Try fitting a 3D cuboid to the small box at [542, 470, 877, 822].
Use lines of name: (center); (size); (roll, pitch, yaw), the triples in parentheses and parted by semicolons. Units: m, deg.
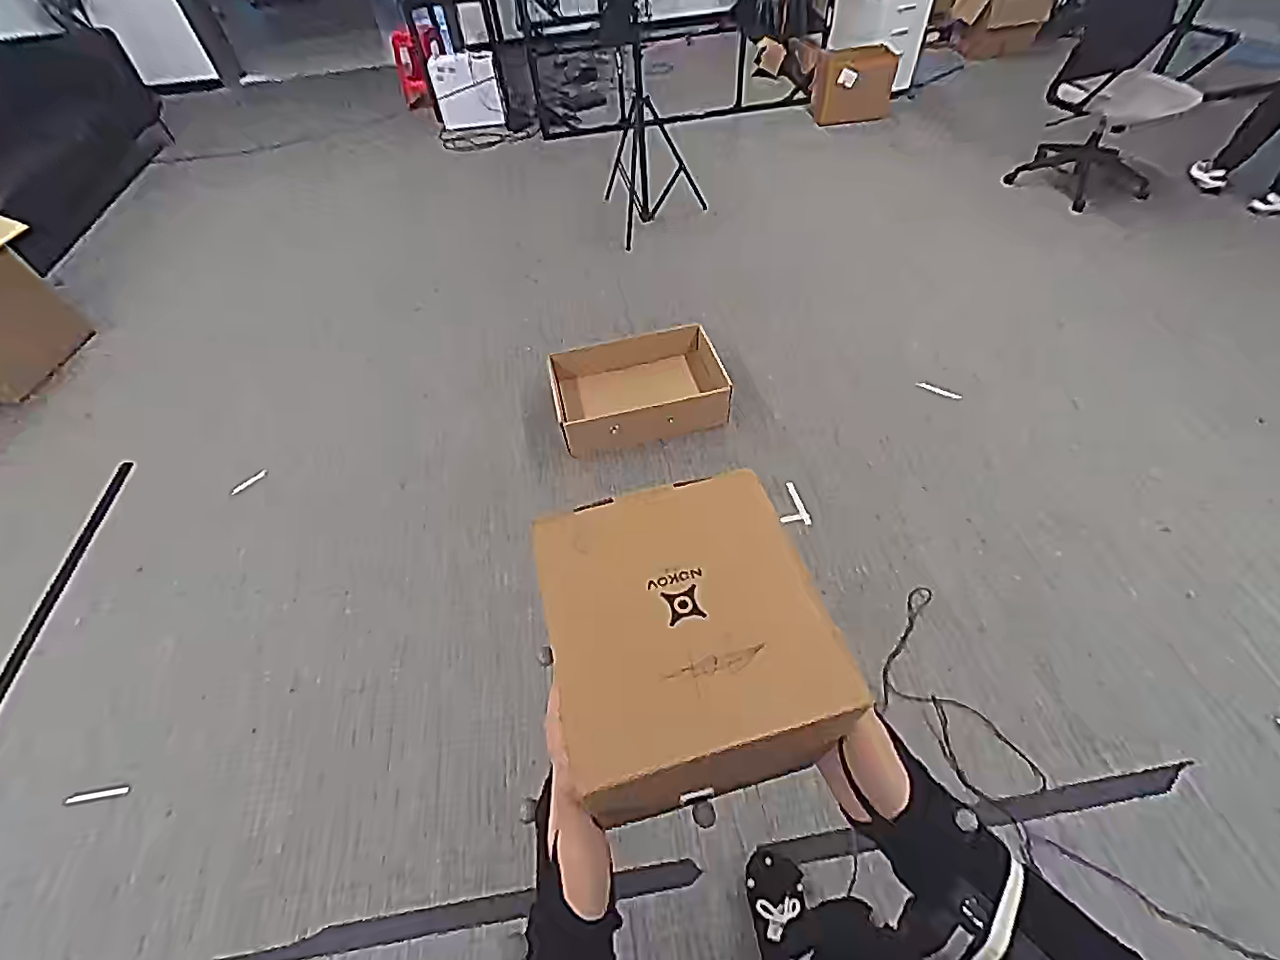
small box: (0.033, 0.124, 0.399); (0.168, 0.176, 0.179); (-14, 53, -8)
